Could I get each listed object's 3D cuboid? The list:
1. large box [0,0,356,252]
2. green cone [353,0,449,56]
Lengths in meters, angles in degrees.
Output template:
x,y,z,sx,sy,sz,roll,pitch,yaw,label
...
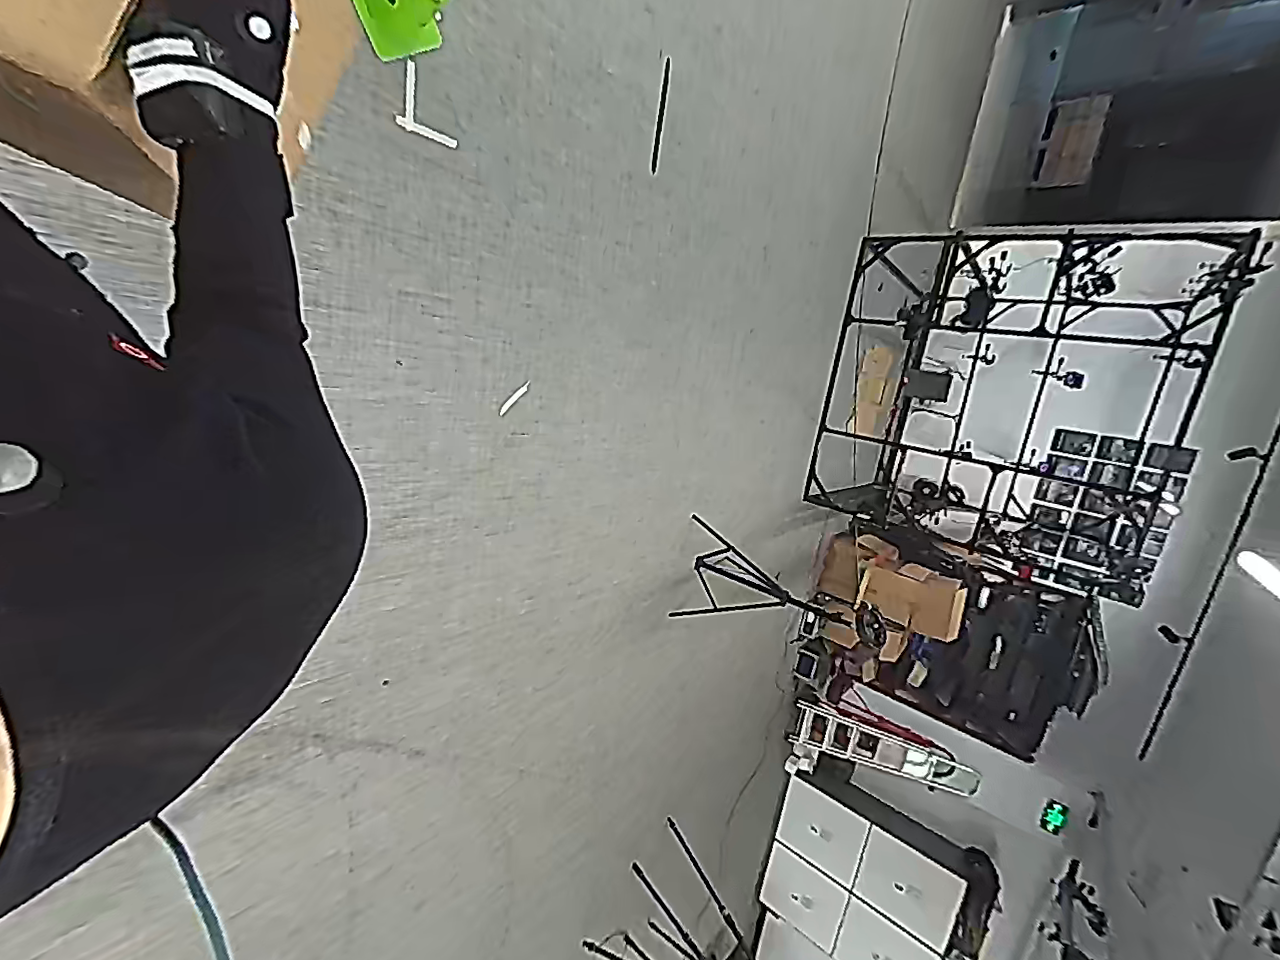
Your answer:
x,y,z,sx,sy,sz,roll,pitch,yaw,label
-0.542,-0.481,0.474,0.408,0.320,0.320,24,85,-16,large box
-0.459,-1.103,1.188,0.202,0.368,0.200,-49,139,-31,green cone
